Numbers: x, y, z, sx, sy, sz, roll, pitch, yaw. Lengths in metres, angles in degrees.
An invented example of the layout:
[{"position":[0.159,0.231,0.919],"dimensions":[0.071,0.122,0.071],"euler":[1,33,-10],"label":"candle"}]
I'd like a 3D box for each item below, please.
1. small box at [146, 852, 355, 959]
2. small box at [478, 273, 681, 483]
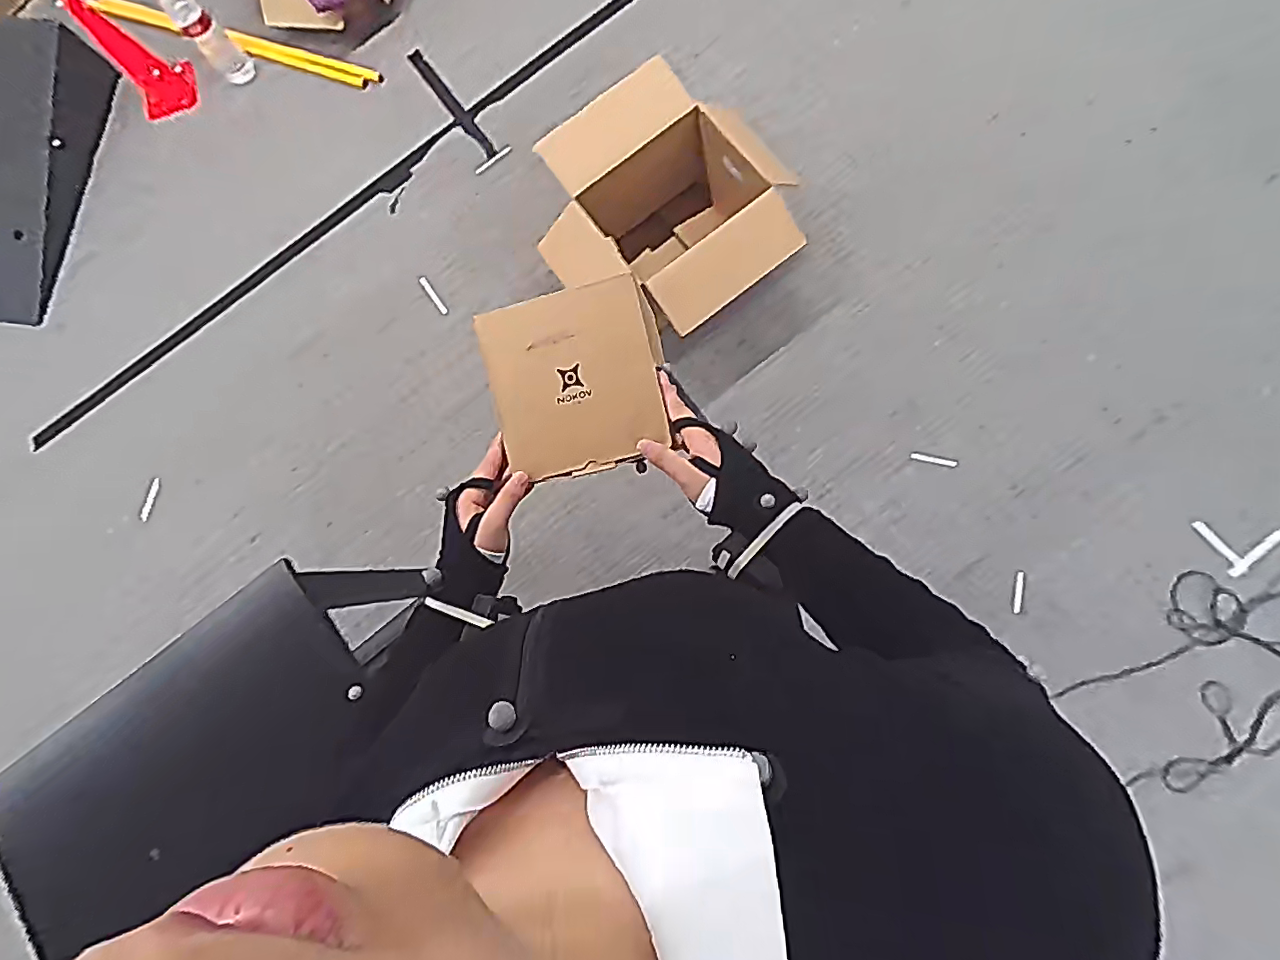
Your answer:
[{"position":[-0.506,0.629,0.681],"dimensions":[0.168,0.176,0.179],"euler":[-36,81,0],"label":"small box"},{"position":[-0.054,-0.103,0.609],"dimensions":[0.168,0.176,0.179],"euler":[-14,91,9],"label":"small box"}]
